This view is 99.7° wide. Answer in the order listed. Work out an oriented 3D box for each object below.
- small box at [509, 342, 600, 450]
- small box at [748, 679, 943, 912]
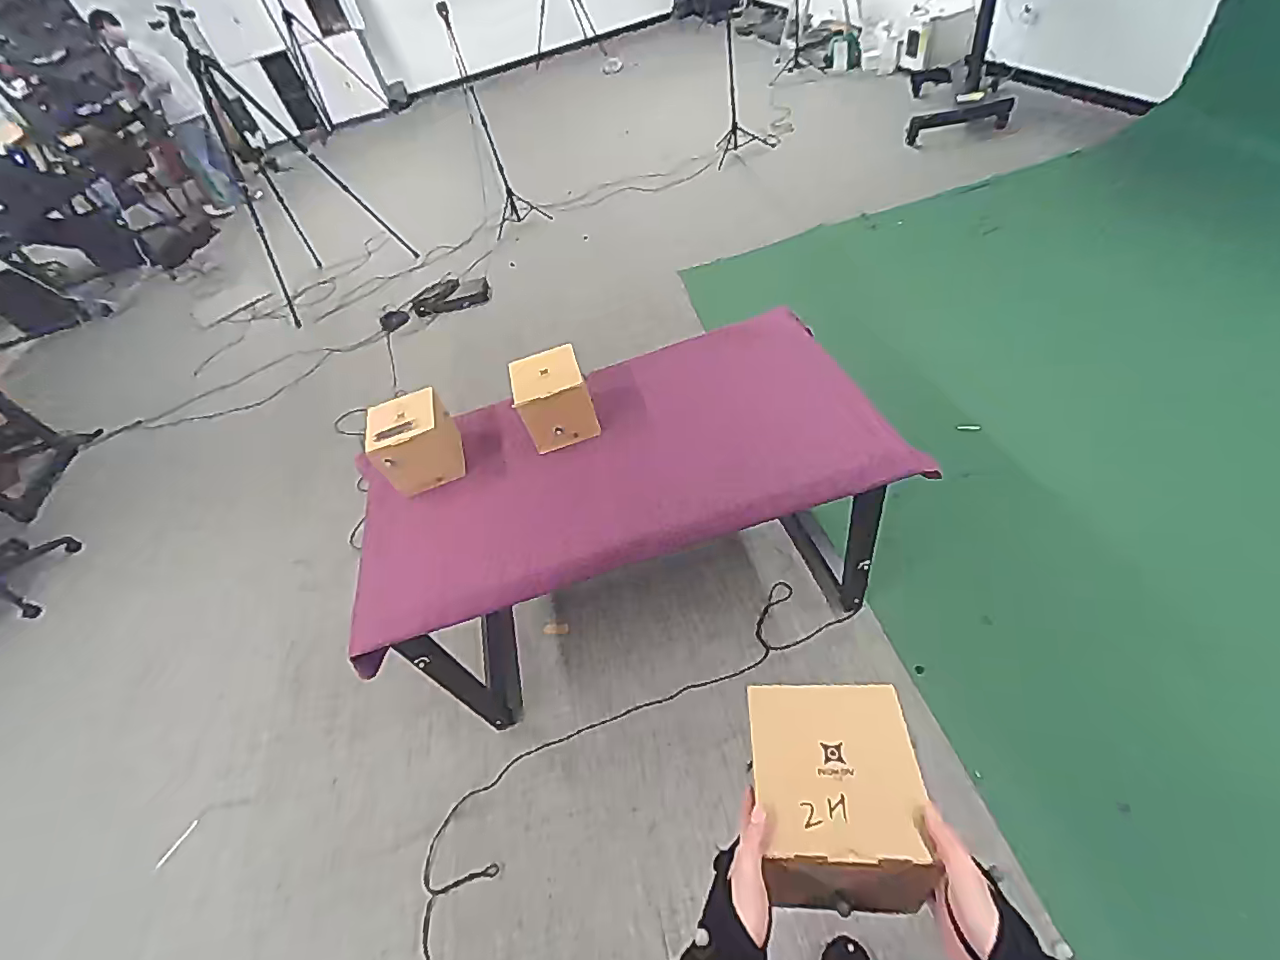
[{"bbox_3d":[-0.209,-0.205,1.334,0.168,0.176,0.179,-19,49,-1],"label":"small box"},{"bbox_3d":[0.209,0.346,0.604,0.168,0.176,0.179,-4,39,10],"label":"small box"}]
